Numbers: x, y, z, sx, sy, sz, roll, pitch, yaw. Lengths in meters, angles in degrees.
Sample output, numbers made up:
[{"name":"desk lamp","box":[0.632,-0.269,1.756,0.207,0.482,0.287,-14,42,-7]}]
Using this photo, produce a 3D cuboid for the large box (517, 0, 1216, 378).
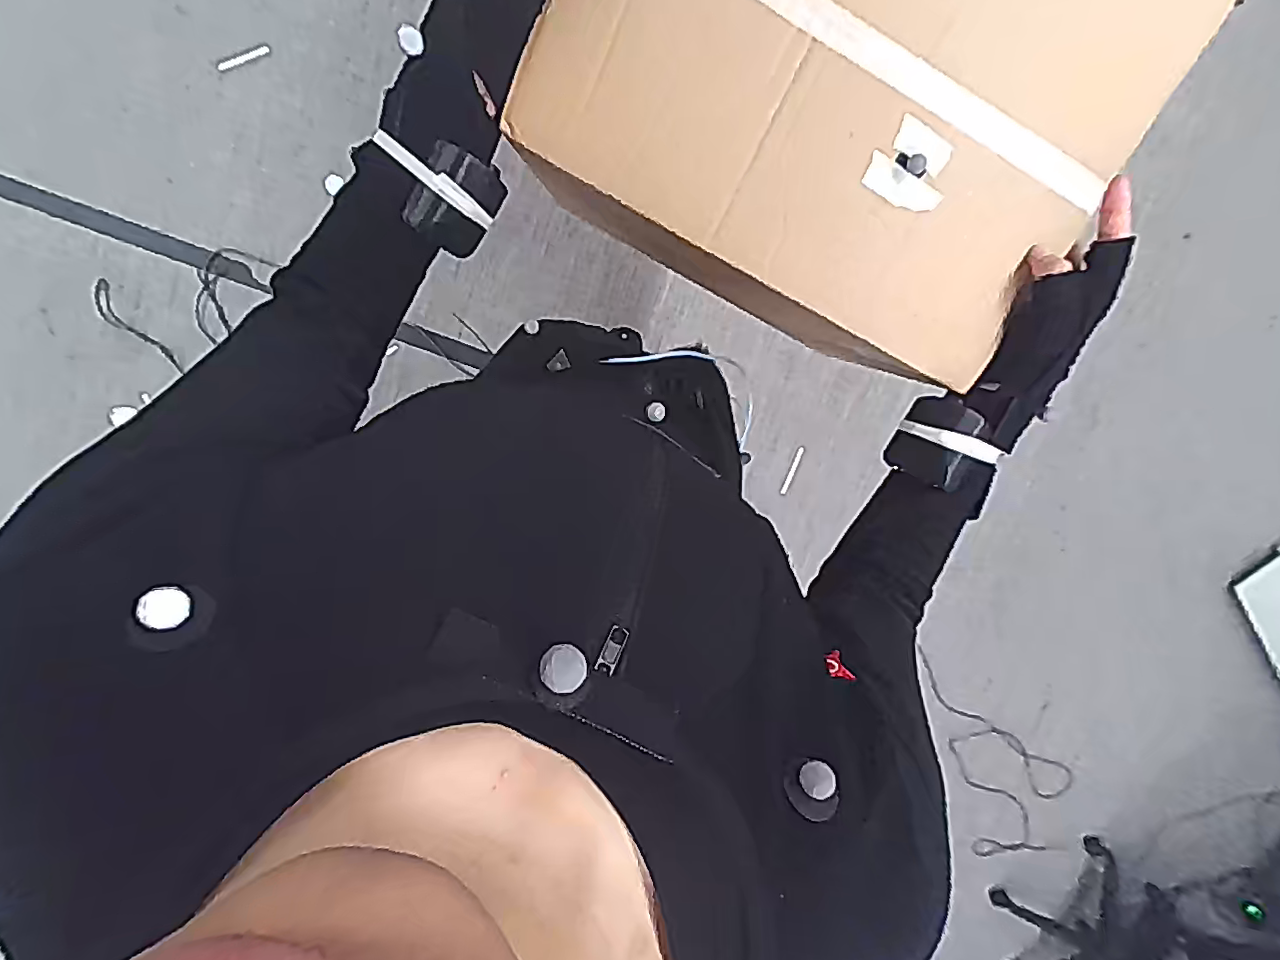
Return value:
[{"name":"large box","box":[0.148,-0.340,0.514,0.408,0.320,0.320,26,107,-10]}]
